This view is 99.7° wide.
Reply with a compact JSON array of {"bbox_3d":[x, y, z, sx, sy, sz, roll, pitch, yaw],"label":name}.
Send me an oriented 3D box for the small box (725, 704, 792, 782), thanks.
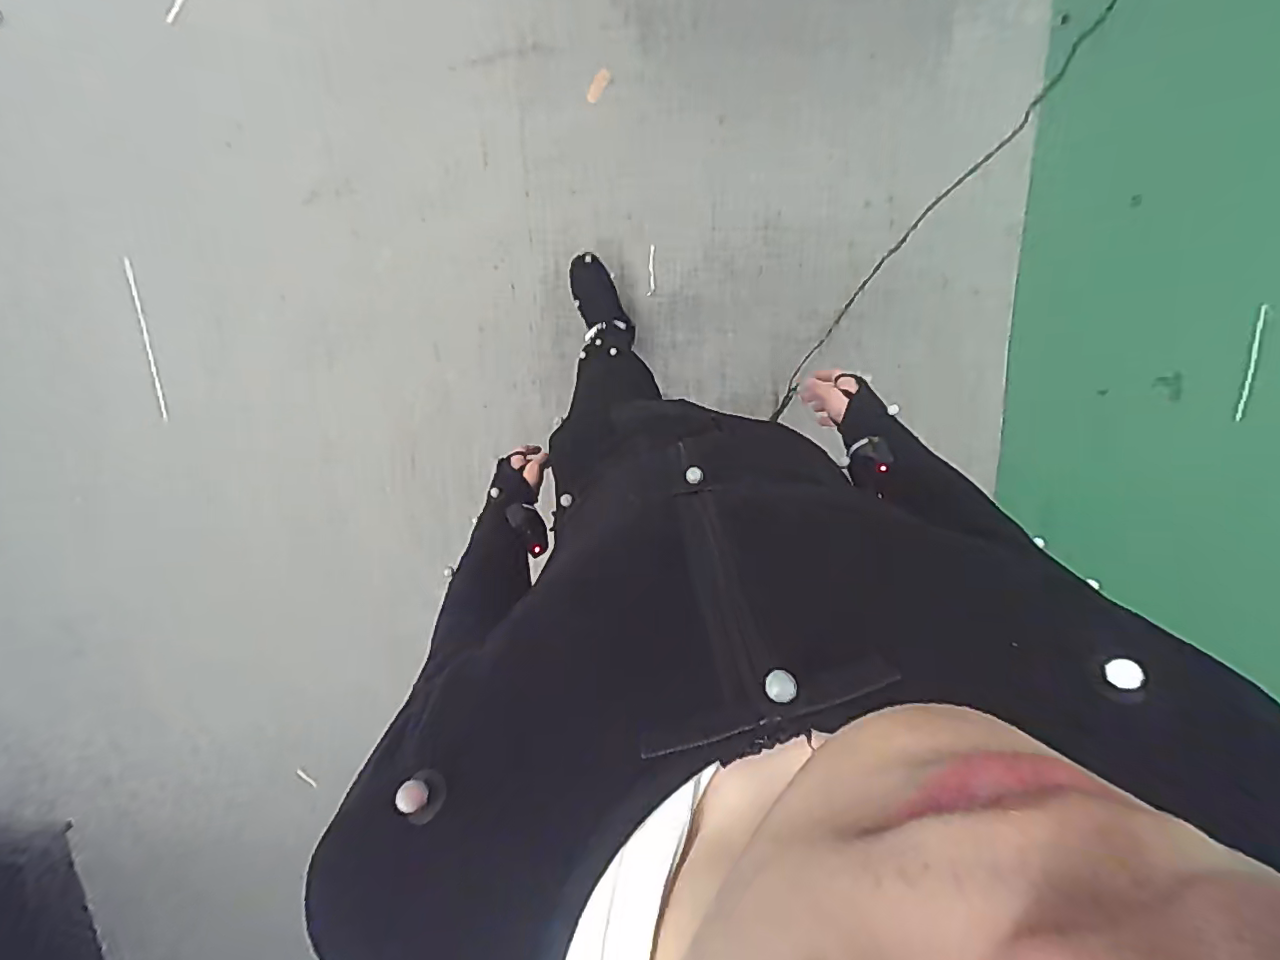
[{"bbox_3d":[0.371,0.839,1.724,0.179,0.176,0.168,4,103,3],"label":"small box"}]
